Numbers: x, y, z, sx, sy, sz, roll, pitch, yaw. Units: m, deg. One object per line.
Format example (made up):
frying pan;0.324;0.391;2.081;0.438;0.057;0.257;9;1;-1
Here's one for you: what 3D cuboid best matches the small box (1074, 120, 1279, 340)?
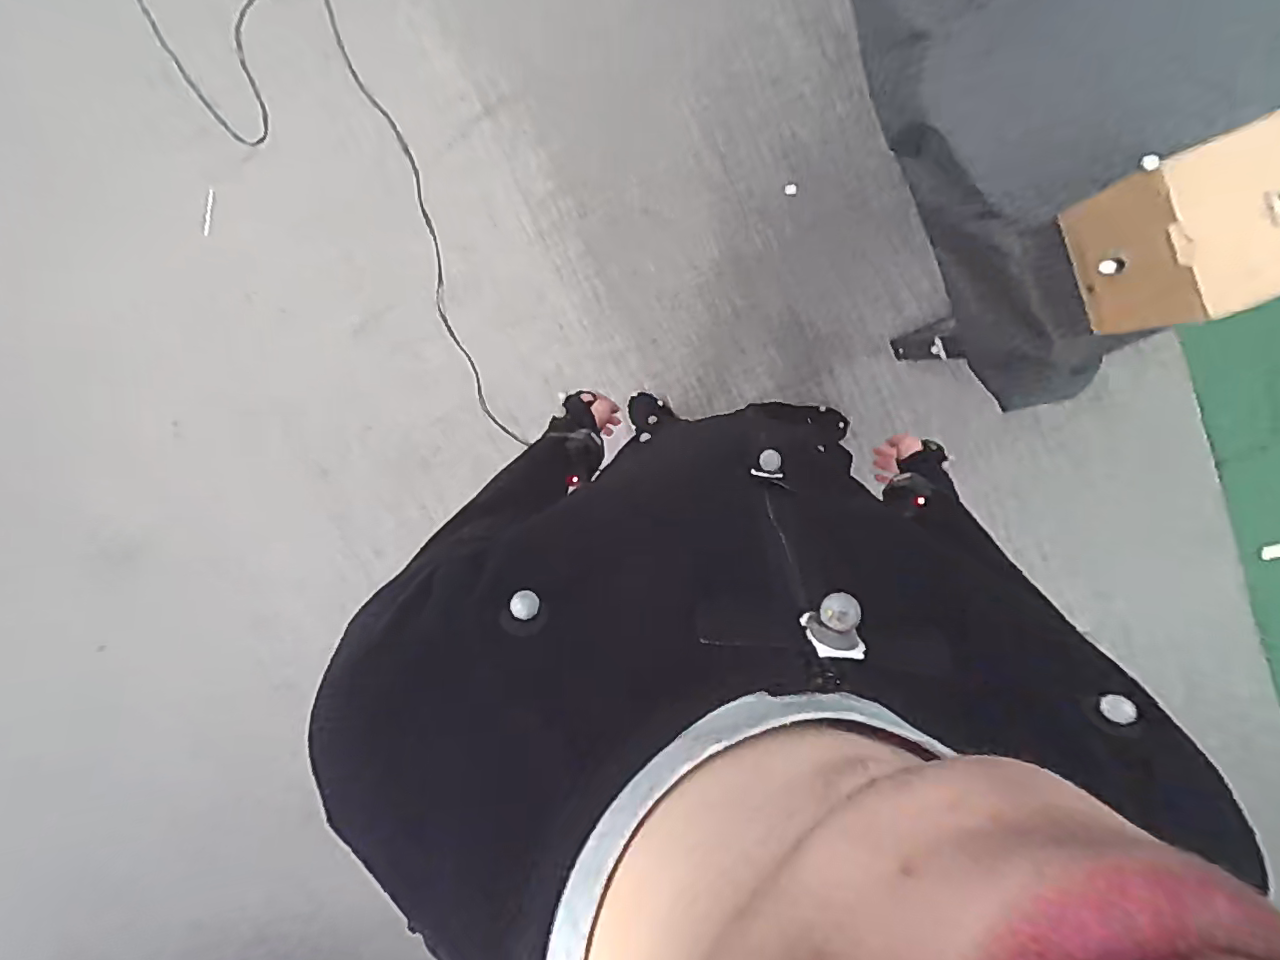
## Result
small box;0.621;-0.264;0.588;0.179;0.176;0.168;-21;95;12
